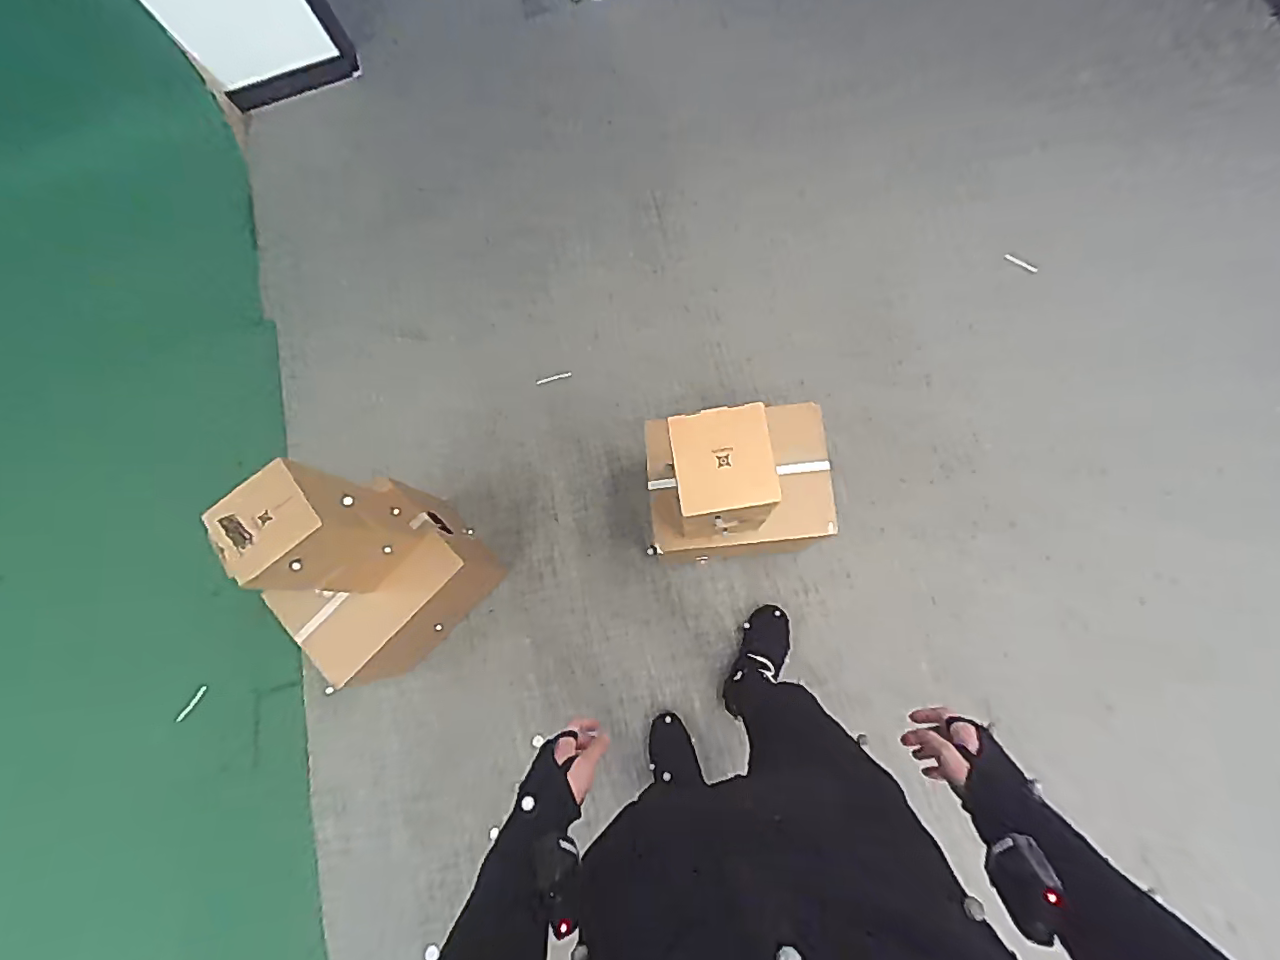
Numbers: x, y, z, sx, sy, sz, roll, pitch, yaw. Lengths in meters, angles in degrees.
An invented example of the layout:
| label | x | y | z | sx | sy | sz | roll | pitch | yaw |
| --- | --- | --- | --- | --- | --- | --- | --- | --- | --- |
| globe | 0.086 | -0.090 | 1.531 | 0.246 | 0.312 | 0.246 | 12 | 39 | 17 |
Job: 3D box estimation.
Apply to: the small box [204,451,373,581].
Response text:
| label | x | y | z | sx | sy | sz | roll | pitch | yaw |
| --- | --- | --- | --- | --- | --- | --- | --- | --- | --- |
| small box | -0.656 | 0.078 | 1.029 | 0.179 | 0.176 | 0.168 | -39 | 76 | -4 |

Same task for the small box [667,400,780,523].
| label | x | y | z | sx | sy | sz | roll | pitch | yaw |
| --- | --- | --- | --- | --- | --- | --- | --- | --- | --- |
| small box | 0.146 | -0.023 | 0.967 | 0.168 | 0.176 | 0.179 | -9 | 76 | 5 |

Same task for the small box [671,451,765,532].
| label | x | y | z | sx | sy | sz | roll | pitch | yaw |
| --- | --- | --- | --- | --- | --- | --- | --- | --- | --- |
| small box | 0.159 | 0.012 | 1.126 | 0.168 | 0.176 | 0.179 | -8 | 78 | 4 |

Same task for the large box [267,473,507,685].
| label | x | y | z | sx | sy | sz | roll | pitch | yaw |
| --- | --- | --- | --- | --- | --- | --- | --- | --- | --- |
| large box | -0.628 | 0.252 | 1.409 | 0.320 | 0.320 | 0.408 | 43 | 86 | 14 |
